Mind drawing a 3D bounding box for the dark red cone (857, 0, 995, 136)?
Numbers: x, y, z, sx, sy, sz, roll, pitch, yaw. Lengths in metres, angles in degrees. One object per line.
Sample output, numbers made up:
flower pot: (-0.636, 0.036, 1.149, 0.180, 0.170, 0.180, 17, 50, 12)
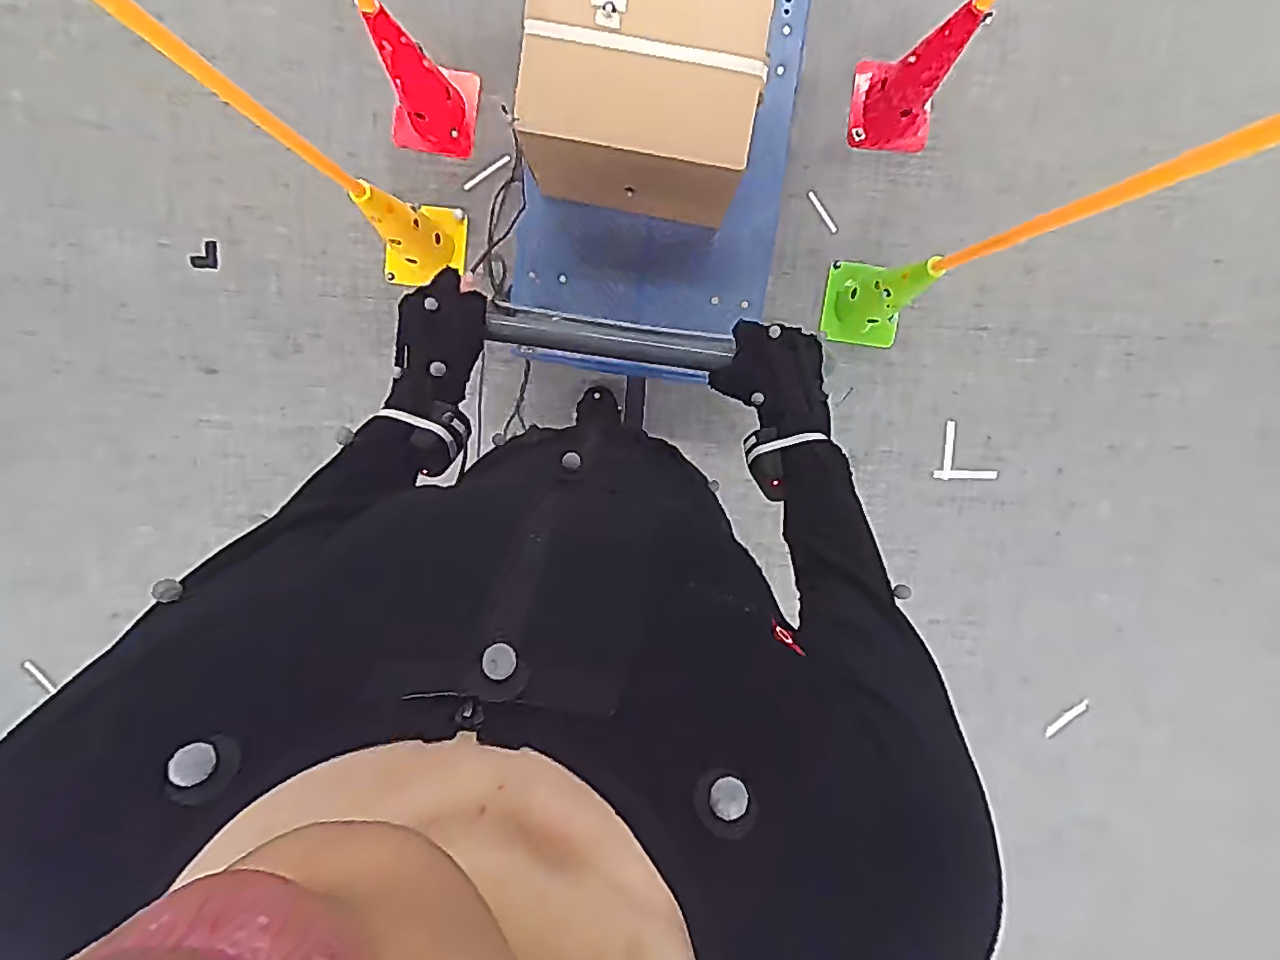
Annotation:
dark red cone: (0.637, -0.928, 1.155, 0.201, 0.394, 0.202, 3, 98, -3)

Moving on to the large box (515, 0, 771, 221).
large box: (0.006, -0.734, 1.051, 0.408, 0.320, 0.320, 9, 98, -1)

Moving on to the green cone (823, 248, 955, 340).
green cone: (0.588, -0.452, 1.232, 0.202, 0.368, 0.200, 7, 97, -2)

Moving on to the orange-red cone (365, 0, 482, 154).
orange-red cone: (-0.497, -0.909, 1.171, 0.198, 0.360, 0.199, 10, 96, -3)
